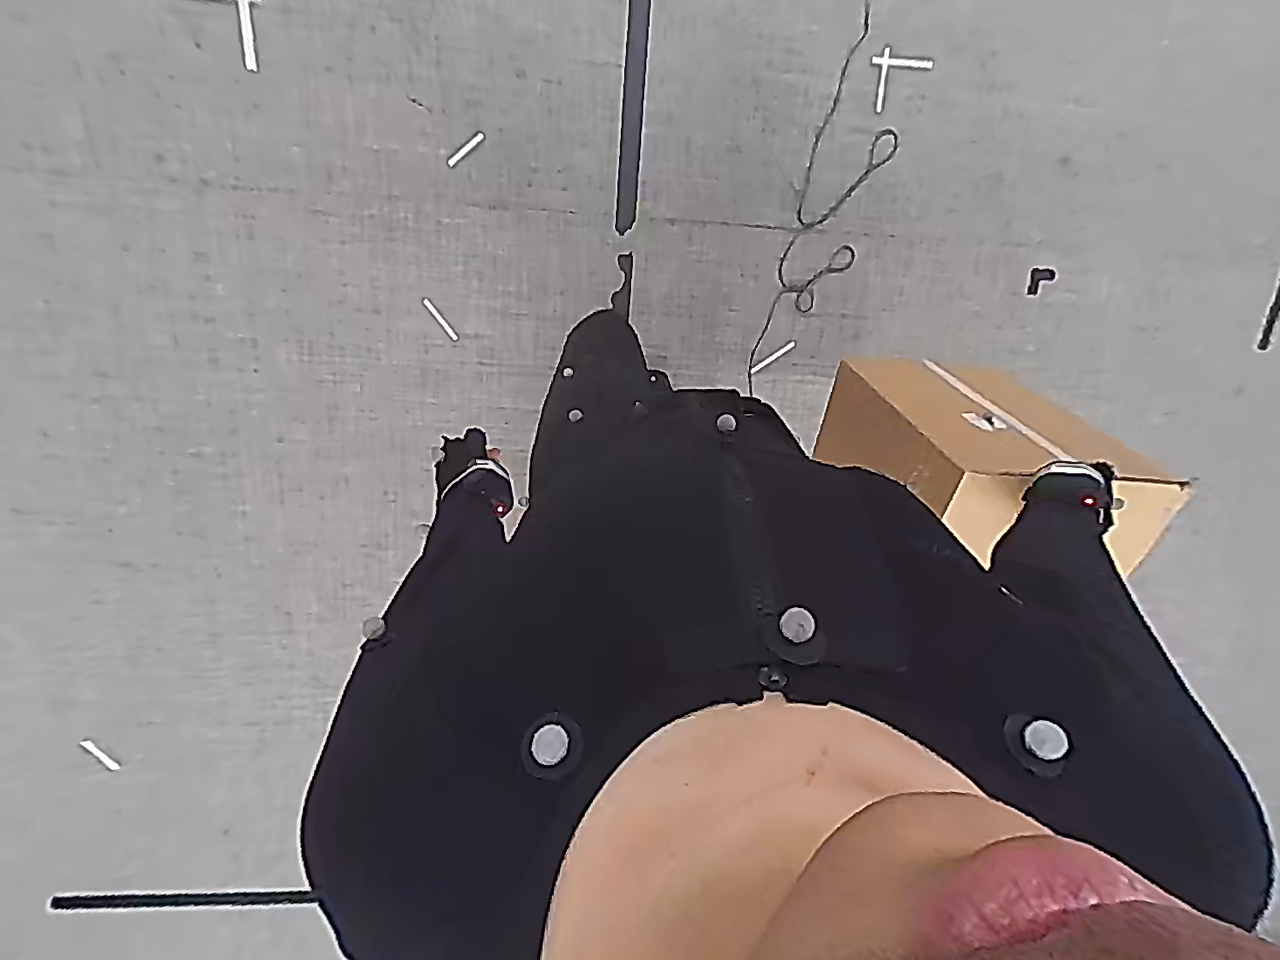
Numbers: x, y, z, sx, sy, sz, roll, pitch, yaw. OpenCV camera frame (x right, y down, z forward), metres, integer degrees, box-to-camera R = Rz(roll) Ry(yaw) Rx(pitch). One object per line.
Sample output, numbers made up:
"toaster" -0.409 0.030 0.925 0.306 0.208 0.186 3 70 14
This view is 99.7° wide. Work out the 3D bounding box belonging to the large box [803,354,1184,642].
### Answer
"large box" 0.521 0.015 0.922 0.320 0.408 0.320 3 124 -6
